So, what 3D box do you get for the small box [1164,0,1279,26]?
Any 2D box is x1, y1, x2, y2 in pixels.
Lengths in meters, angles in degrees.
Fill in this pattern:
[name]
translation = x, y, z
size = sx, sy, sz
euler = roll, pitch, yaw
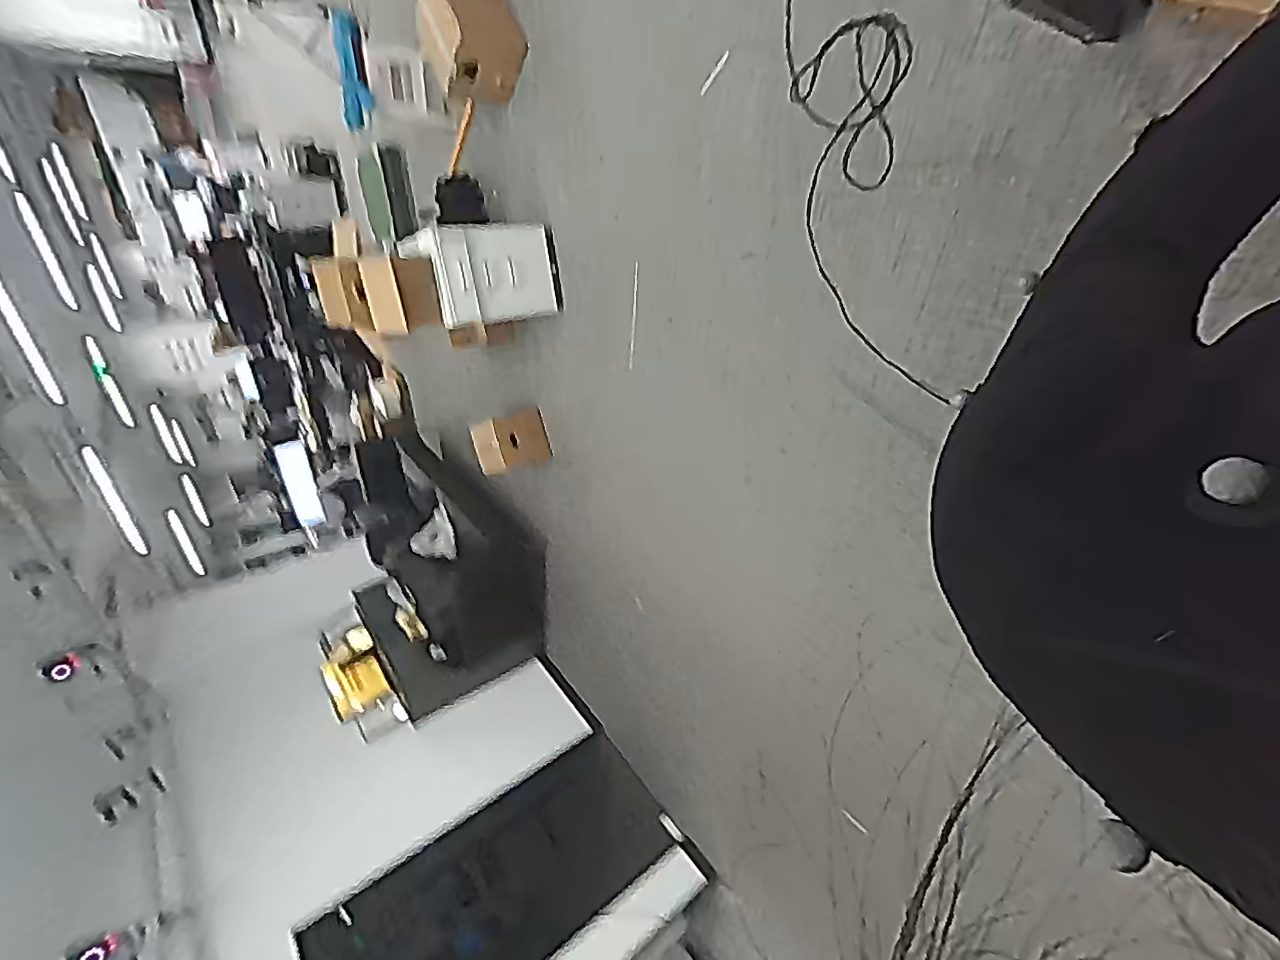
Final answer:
[small box]
translation = 0.938, -0.818, 0.817
size = 0.179, 0.176, 0.168
euler = 47, 140, 30
